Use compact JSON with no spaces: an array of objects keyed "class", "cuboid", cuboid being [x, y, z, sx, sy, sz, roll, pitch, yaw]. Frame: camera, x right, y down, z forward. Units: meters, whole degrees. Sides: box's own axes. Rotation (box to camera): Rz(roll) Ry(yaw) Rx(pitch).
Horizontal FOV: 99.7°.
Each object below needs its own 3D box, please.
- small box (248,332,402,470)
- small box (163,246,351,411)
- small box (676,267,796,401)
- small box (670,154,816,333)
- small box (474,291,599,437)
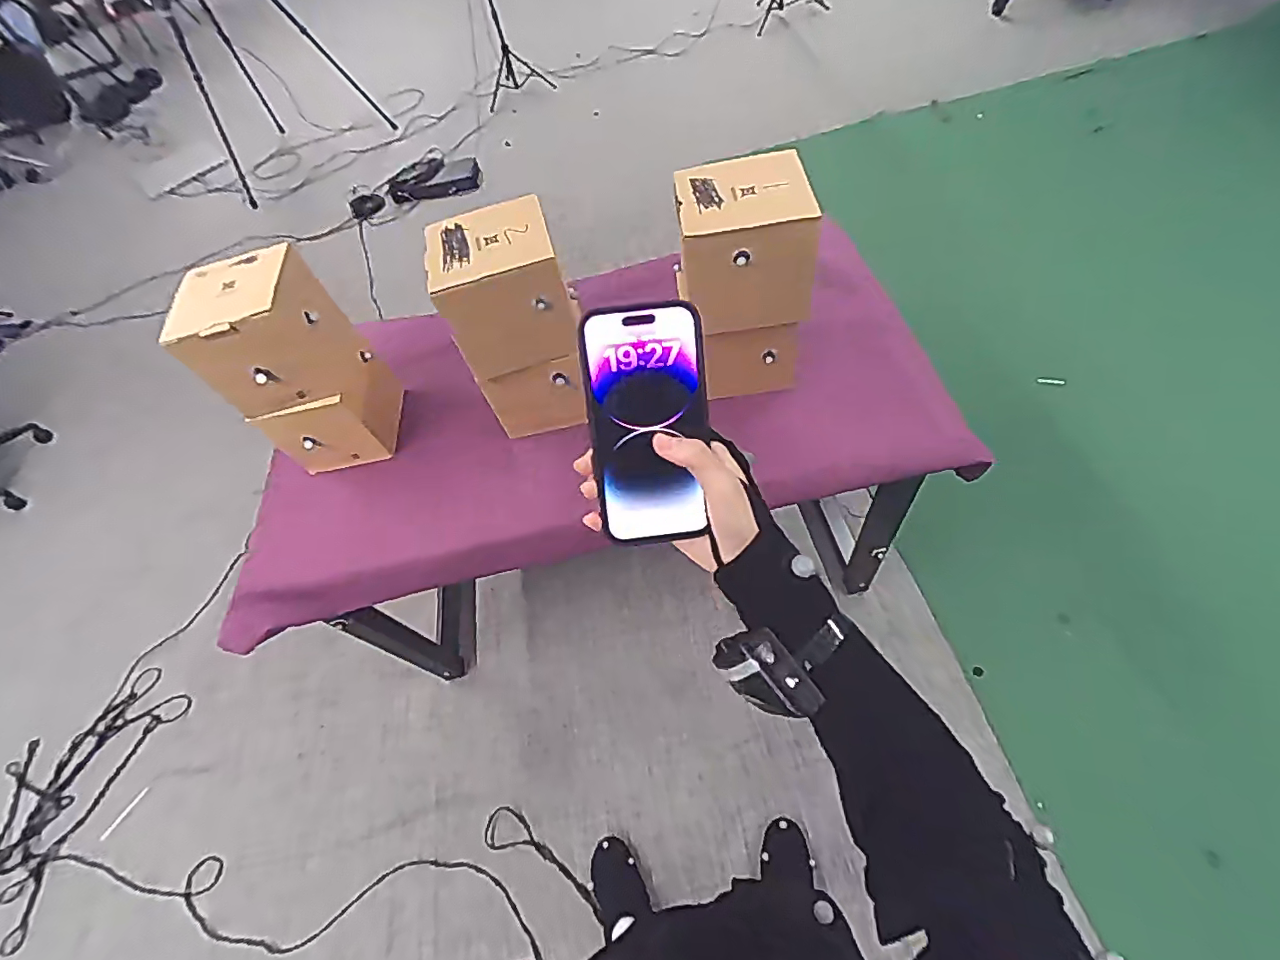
[{"class":"small box","cuboid":[-0.559,-0.134,0.989,0.168,0.176,0.179,-12,56,4]},{"class":"small box","cuboid":[-0.587,-0.229,0.857,0.168,0.176,0.179,-15,57,0]},{"class":"small box","cuboid":[0.160,-0.257,0.930,0.179,0.176,0.168,-7,56,7]},{"class":"small box","cuboid":[0.144,-0.334,0.785,0.179,0.176,0.168,-7,56,6]},{"class":"small box","cuboid":[-0.175,-0.199,0.955,0.179,0.176,0.168,-12,56,3]}]
